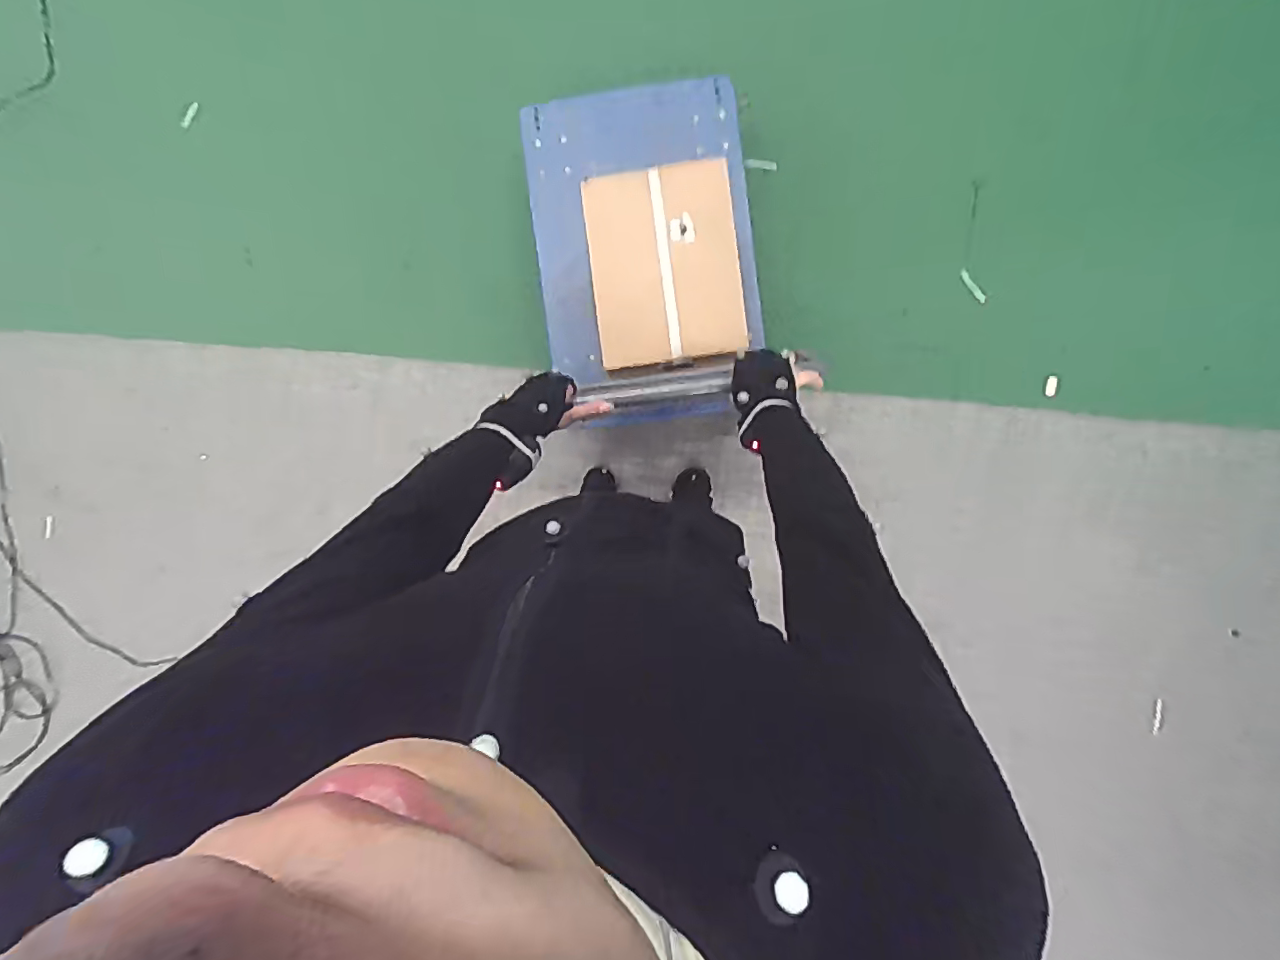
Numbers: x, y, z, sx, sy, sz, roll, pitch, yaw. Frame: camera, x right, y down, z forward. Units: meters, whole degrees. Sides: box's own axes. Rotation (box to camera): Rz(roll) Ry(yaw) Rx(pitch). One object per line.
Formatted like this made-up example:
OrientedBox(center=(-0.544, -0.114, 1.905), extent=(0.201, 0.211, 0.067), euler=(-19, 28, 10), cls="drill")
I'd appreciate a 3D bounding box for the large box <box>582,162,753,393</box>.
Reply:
OrientedBox(center=(0.065, -0.444, 1.276), extent=(0.320, 0.320, 0.408), euler=(-7, 91, 2), cls="large box")
